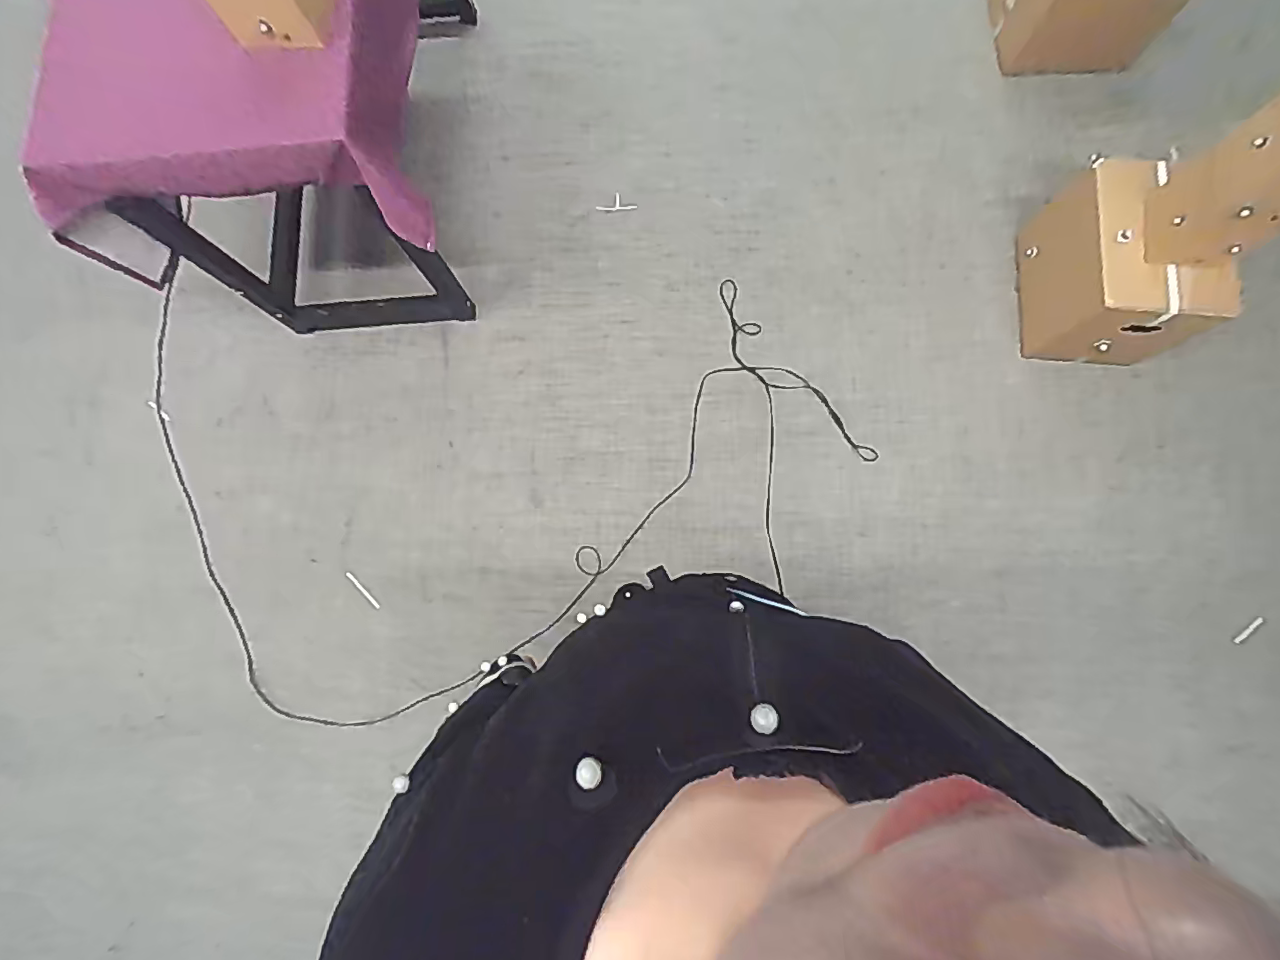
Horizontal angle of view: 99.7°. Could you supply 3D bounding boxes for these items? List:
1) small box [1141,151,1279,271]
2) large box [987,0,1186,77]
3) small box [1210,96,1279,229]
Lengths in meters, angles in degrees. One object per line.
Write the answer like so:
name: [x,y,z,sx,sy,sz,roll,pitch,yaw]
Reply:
small box: [1.298,-0.605,1.233,0.168,0.176,0.179,9,80,2]
large box: [1.363,-1.495,1.644,0.408,0.320,0.320,-1,79,1]
small box: [1.293,-0.631,1.071,0.168,0.176,0.179,10,79,1]
